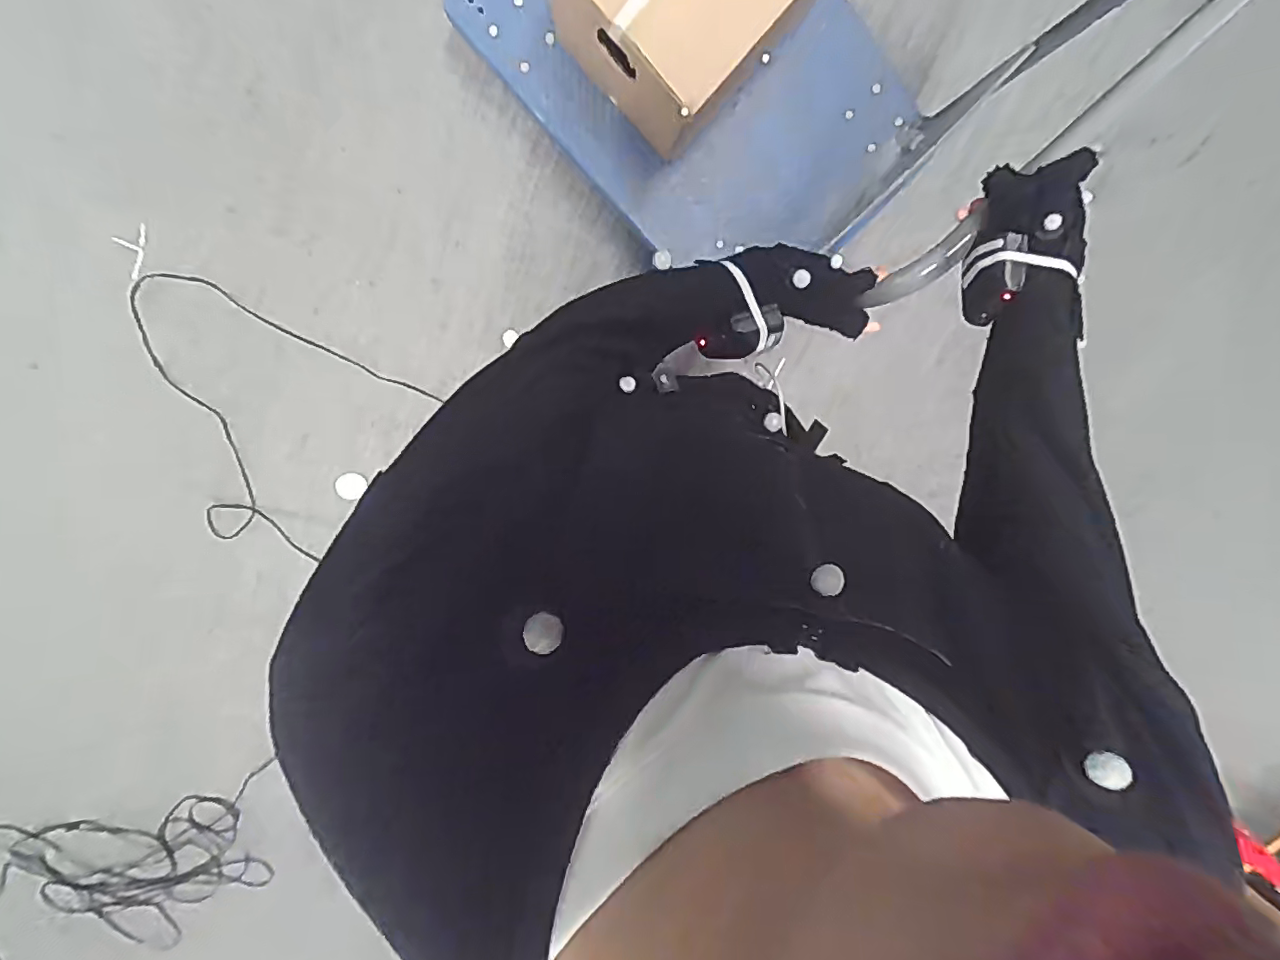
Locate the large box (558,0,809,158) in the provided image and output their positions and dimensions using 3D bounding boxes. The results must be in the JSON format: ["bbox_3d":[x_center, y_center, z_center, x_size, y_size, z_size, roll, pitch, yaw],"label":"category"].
[{"bbox_3d":[0.105,-0.842,0.892,0.320,0.320,0.408,41,102,-14],"label":"large box"}]
